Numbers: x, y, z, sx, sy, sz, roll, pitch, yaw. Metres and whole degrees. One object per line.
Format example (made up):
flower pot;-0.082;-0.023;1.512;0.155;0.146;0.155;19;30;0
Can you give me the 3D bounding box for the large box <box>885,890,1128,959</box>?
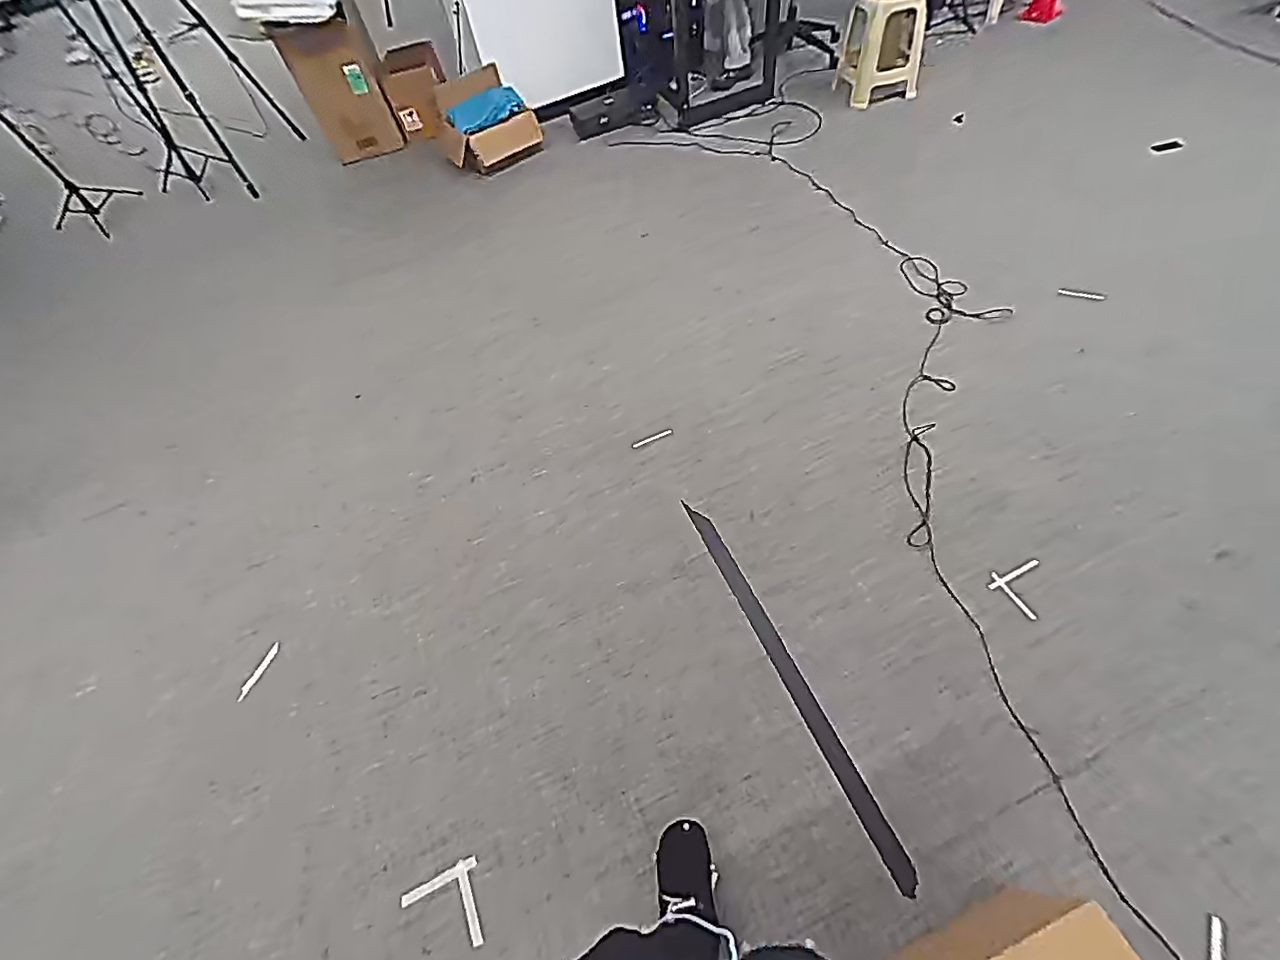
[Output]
large box;0.575;0.907;0.829;0.408;0.320;0.320;-24;55;-6
